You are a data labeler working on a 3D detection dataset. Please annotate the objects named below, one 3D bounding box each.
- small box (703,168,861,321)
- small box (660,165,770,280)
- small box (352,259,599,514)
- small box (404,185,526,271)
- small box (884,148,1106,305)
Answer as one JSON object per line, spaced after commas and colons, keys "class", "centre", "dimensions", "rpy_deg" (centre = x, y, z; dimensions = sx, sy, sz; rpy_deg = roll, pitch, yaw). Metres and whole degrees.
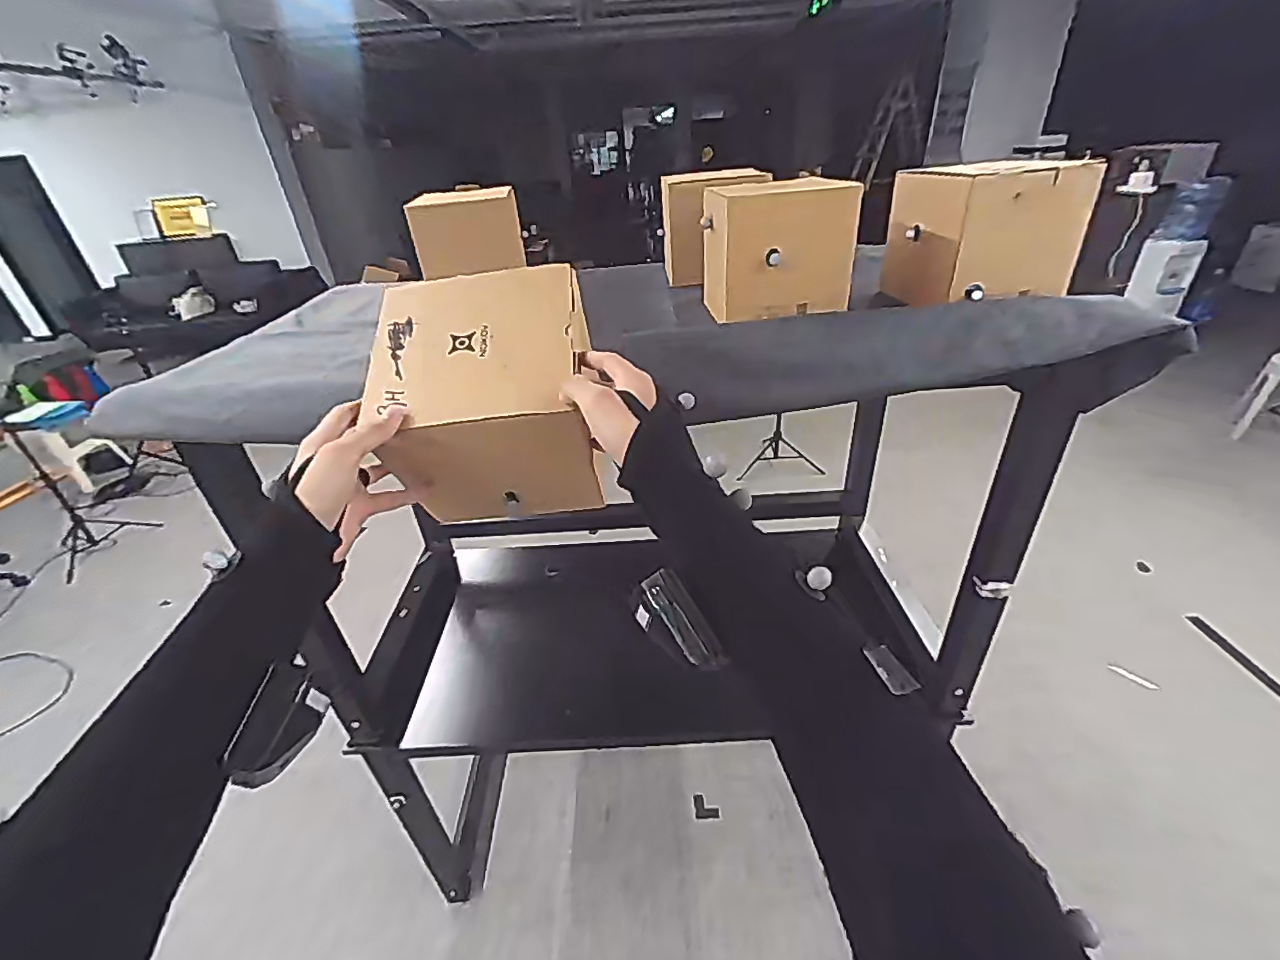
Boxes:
{"class": "small box", "centre": [0.182, -0.321, 0.742], "dimensions": [0.168, 0.176, 0.179], "rpy_deg": [-5, 31, -1]}
{"class": "small box", "centre": [0.132, -0.469, 0.985], "dimensions": [0.179, 0.176, 0.168], "rpy_deg": [-4, 33, 1]}
{"class": "small box", "centre": [-0.133, -0.080, 0.516], "dimensions": [0.179, 0.176, 0.168], "rpy_deg": [-6, 60, 2]}
{"class": "small box", "centre": [-0.299, -0.426, 0.974], "dimensions": [0.168, 0.176, 0.179], "rpy_deg": [-8, 32, -4]}
{"class": "small box", "centre": [0.456, -0.340, 0.730], "dimensions": [0.168, 0.176, 0.179], "rpy_deg": [-7, 31, -3]}
